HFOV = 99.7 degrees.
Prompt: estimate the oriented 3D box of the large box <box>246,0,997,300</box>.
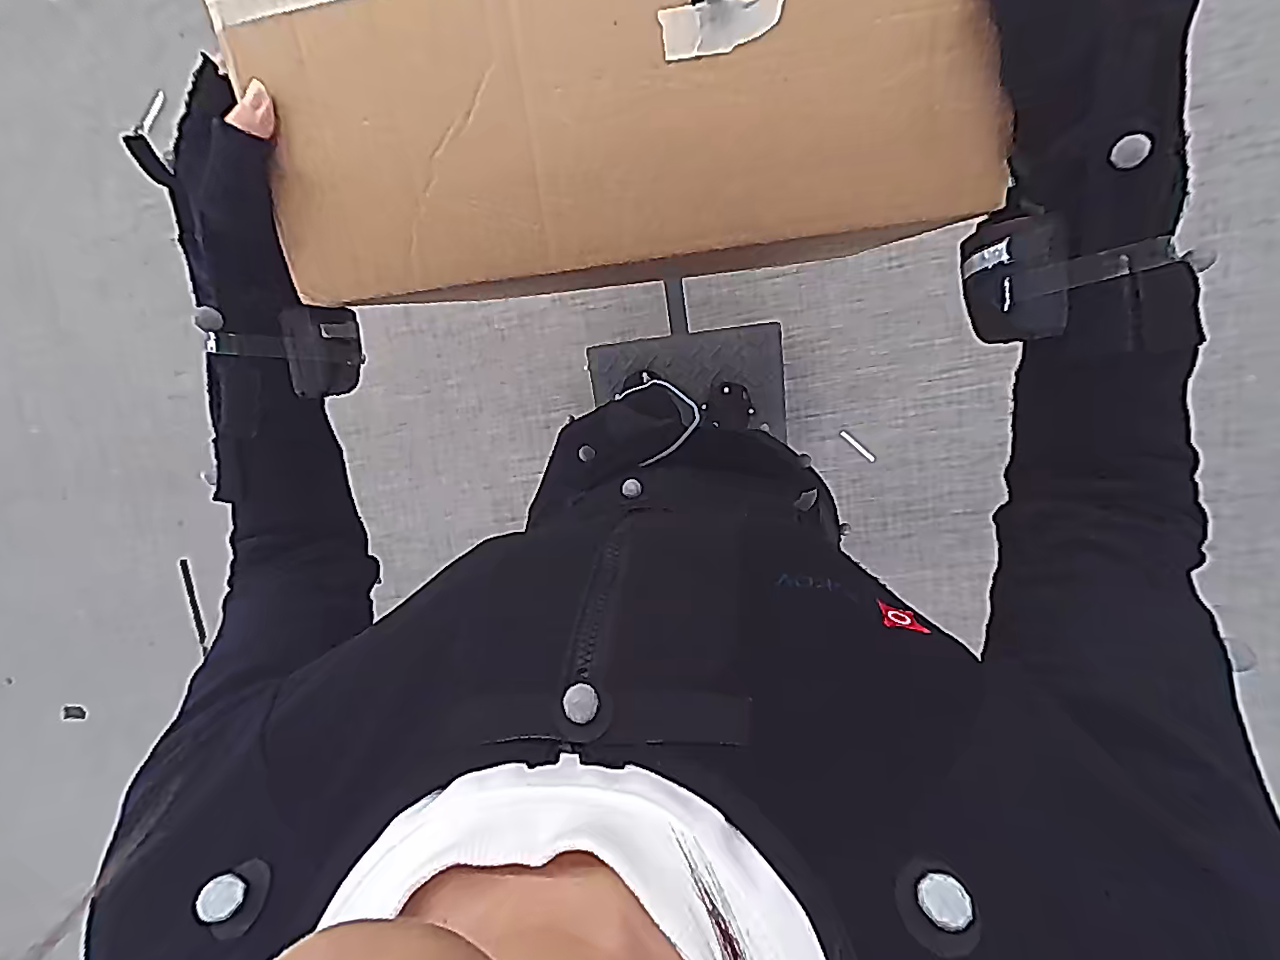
[{"bbox_3d":[-0.011,-0.327,0.415,0.408,0.320,0.320,-4,109,9],"label":"large box"}]
